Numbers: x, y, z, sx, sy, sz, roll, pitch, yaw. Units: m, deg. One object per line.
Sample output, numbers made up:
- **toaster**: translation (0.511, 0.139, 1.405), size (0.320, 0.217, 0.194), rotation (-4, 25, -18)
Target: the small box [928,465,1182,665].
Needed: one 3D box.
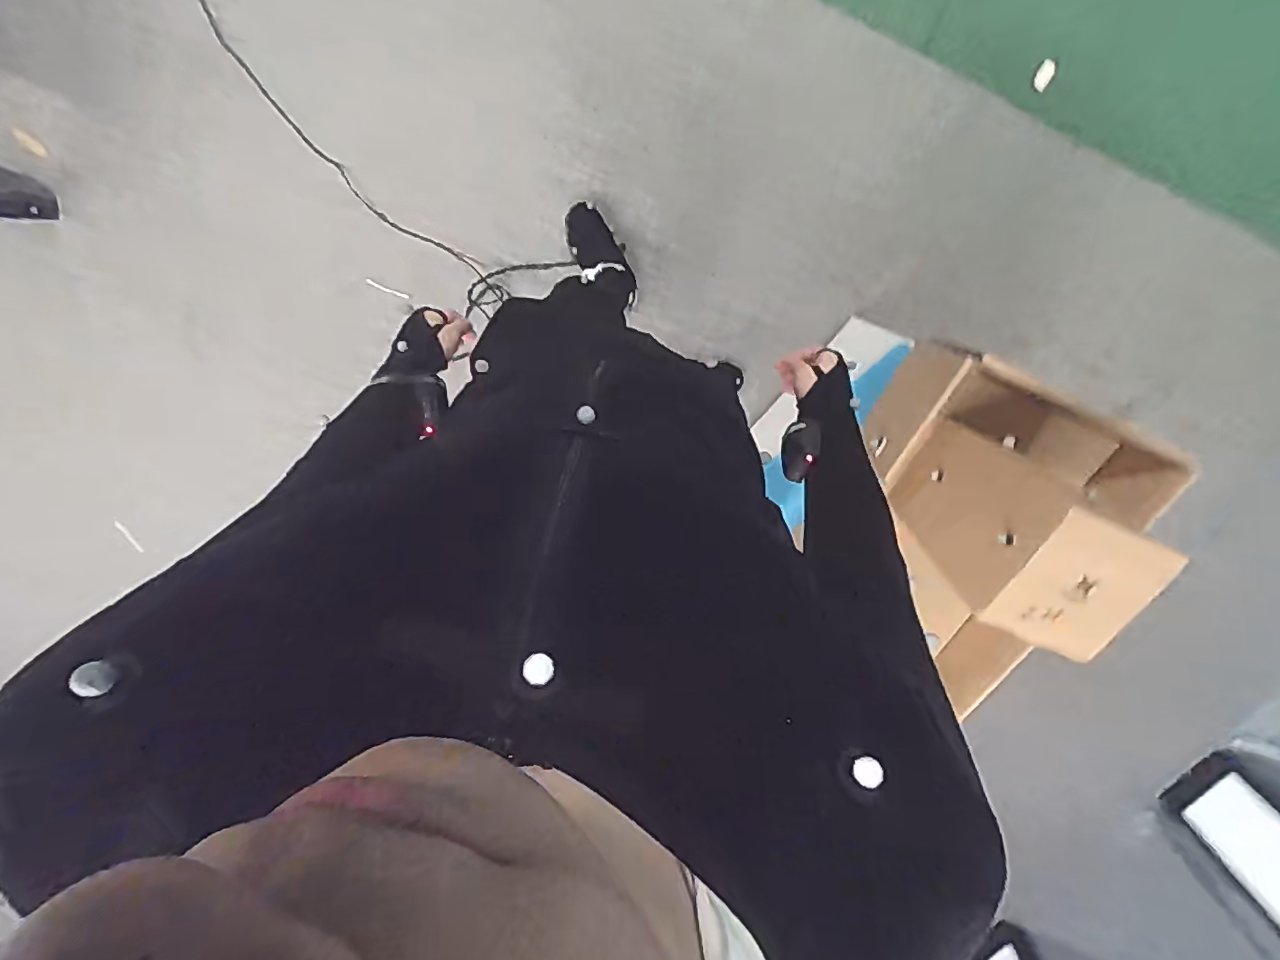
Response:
- **small box**: translation (0.528, 0.104, 0.723), size (0.168, 0.176, 0.179), rotation (23, 114, -6)
